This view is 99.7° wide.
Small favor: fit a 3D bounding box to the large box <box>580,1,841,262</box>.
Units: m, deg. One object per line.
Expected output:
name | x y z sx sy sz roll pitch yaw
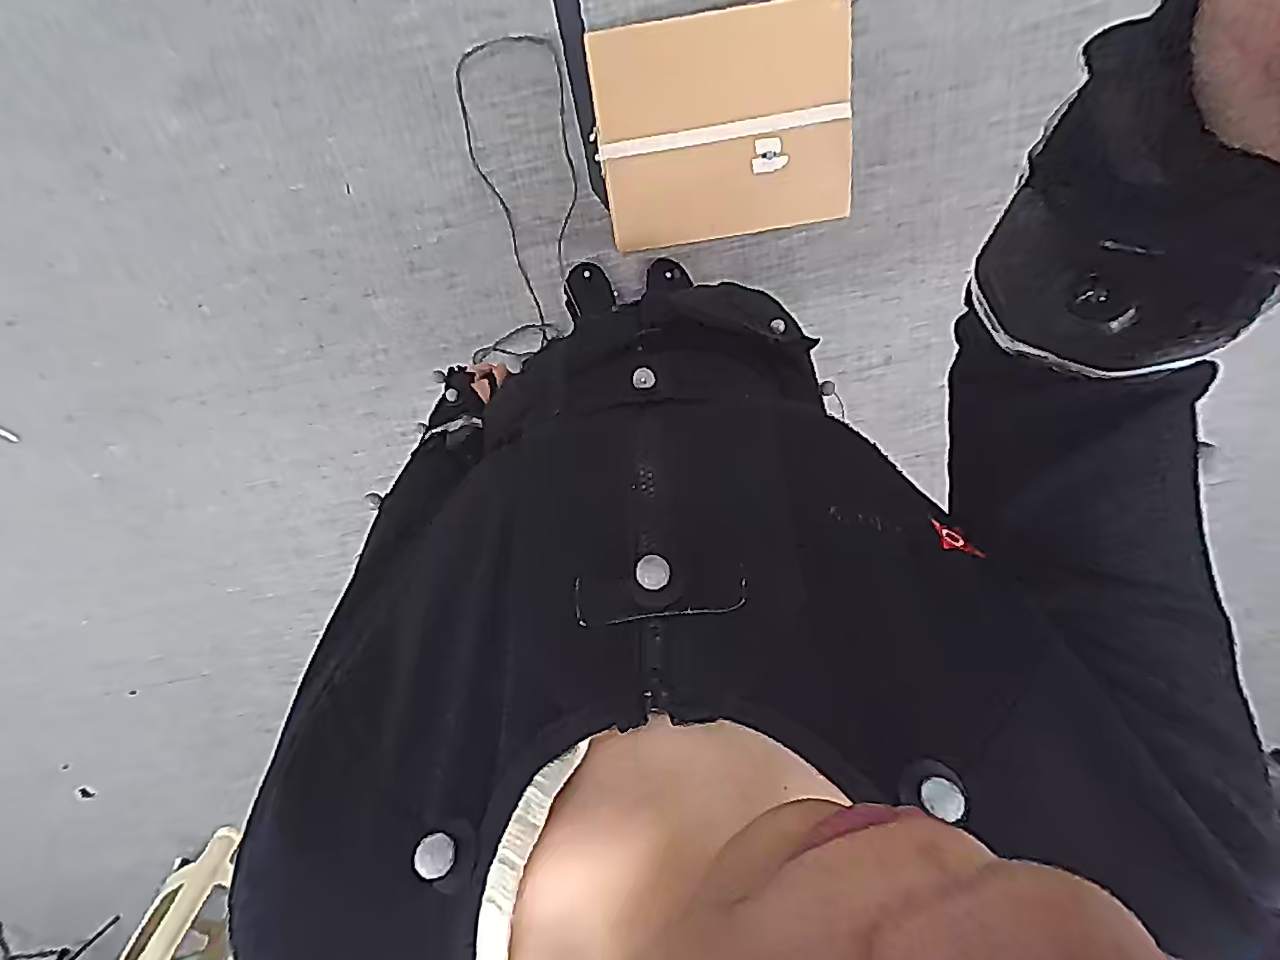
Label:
large box | 0.119 -0.611 1.017 0.408 0.320 0.320 -9 114 1
